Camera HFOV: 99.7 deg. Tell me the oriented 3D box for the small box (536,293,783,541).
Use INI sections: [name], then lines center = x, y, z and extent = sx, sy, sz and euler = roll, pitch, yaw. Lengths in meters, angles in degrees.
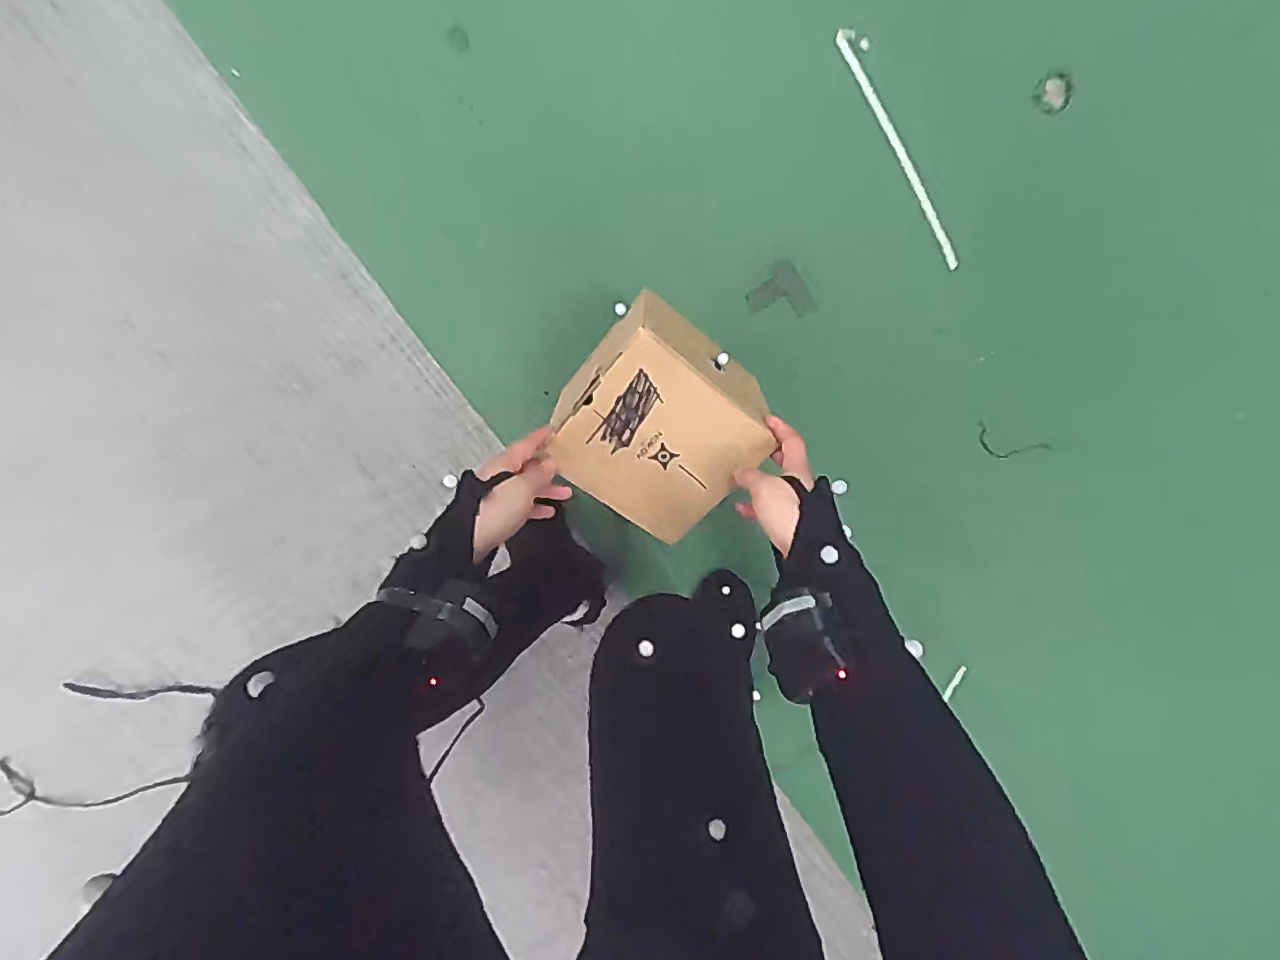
[small box]
center = 0.018, -0.075, 0.575
extent = 0.179, 0.176, 0.168
euler = 35, 117, -19
